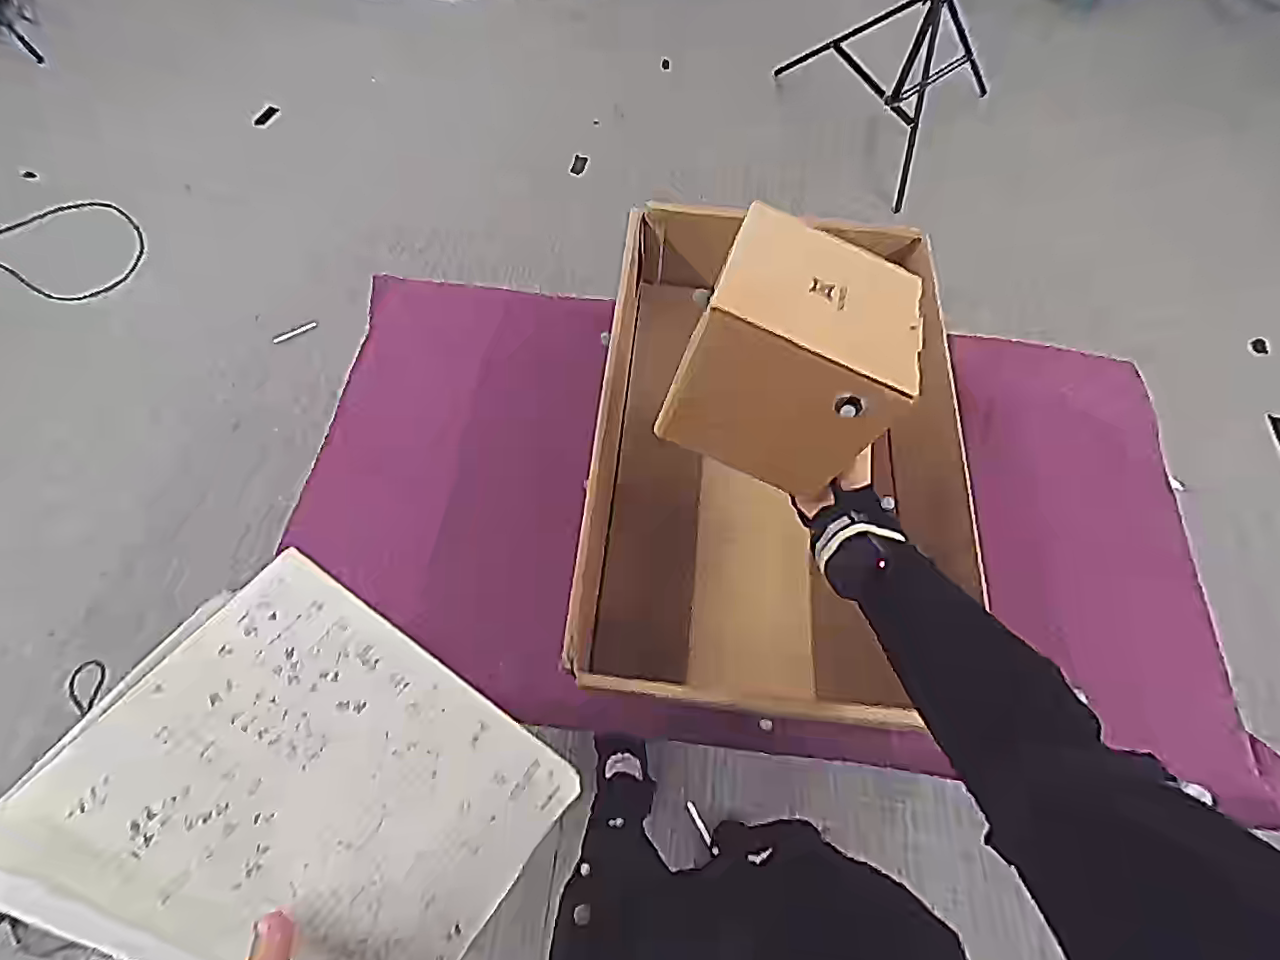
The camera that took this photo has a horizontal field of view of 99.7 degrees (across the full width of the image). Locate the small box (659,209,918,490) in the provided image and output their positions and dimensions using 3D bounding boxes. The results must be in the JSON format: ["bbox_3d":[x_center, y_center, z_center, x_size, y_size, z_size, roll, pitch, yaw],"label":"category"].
[{"bbox_3d":[0.135,-0.116,0.522,0.179,0.176,0.168,24,55,-1],"label":"small box"}]
